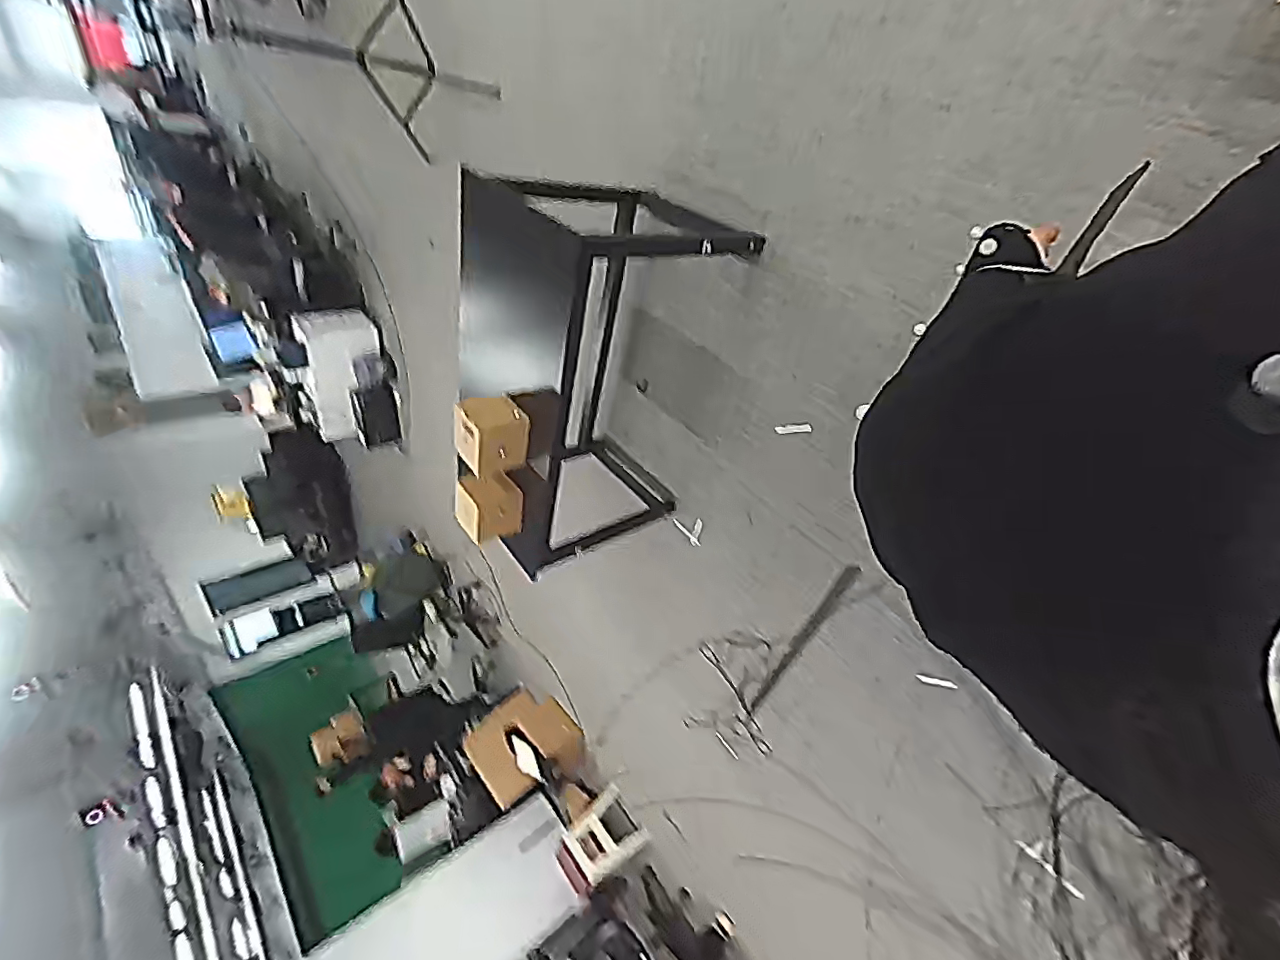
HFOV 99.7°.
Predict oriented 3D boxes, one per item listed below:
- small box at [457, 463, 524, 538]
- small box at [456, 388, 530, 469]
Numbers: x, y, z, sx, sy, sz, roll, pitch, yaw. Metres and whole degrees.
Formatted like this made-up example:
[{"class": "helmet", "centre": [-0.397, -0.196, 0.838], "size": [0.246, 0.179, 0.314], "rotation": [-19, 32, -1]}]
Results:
[{"class": "small box", "centre": [-0.517, 0.063, 1.872], "size": [0.168, 0.176, 0.179], "rotation": [42, 135, 34]}, {"class": "small box", "centre": [-0.461, -0.167, 1.695], "size": [0.168, 0.176, 0.179], "rotation": [44, 137, 31]}]
